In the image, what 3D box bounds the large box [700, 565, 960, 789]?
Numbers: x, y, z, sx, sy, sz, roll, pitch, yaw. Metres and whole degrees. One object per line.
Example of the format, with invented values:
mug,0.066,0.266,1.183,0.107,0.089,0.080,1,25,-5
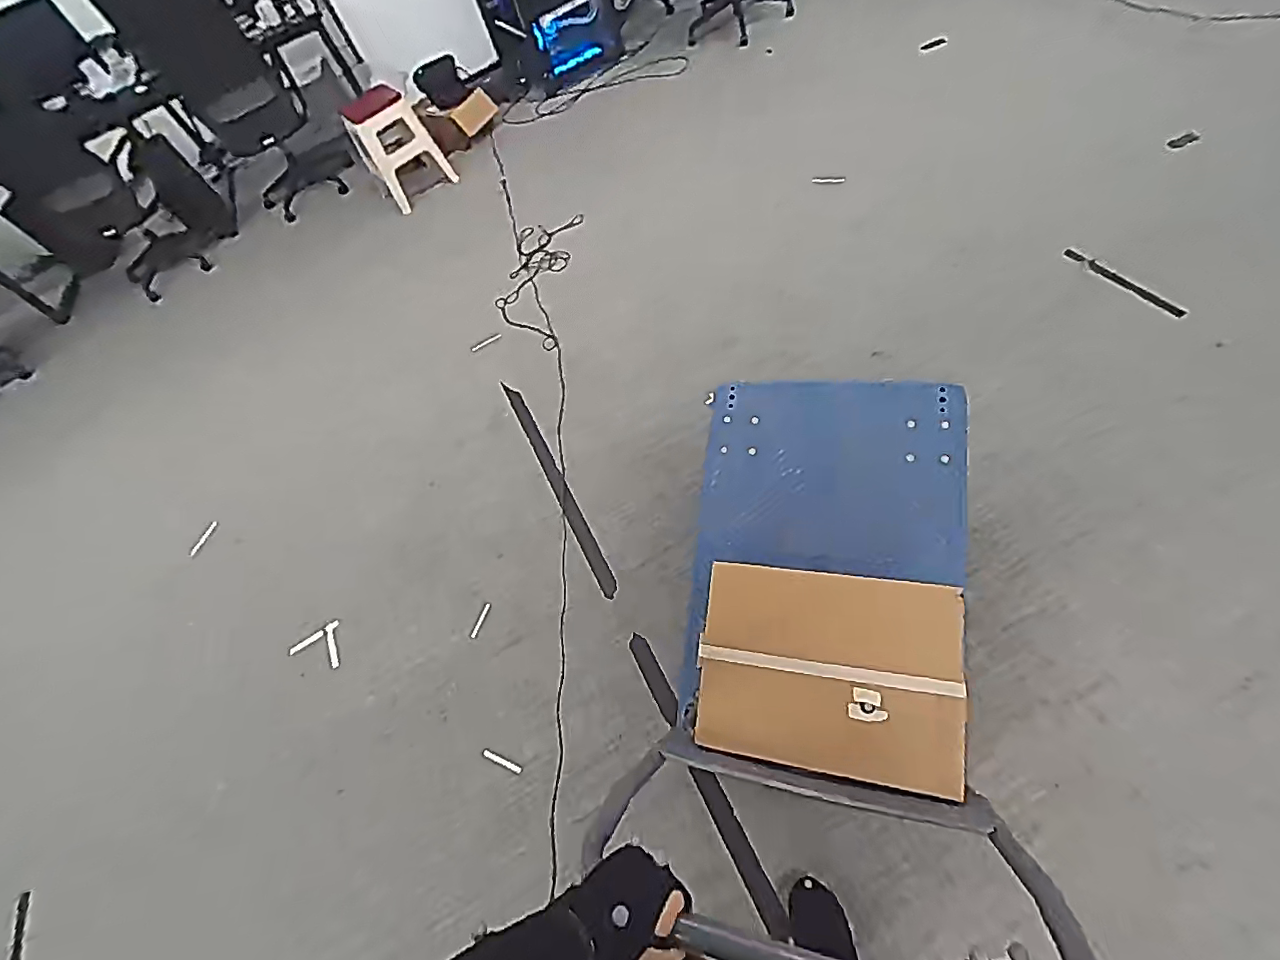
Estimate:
large box,0.346,0.351,1.040,0.408,0.320,0.320,3,77,17
